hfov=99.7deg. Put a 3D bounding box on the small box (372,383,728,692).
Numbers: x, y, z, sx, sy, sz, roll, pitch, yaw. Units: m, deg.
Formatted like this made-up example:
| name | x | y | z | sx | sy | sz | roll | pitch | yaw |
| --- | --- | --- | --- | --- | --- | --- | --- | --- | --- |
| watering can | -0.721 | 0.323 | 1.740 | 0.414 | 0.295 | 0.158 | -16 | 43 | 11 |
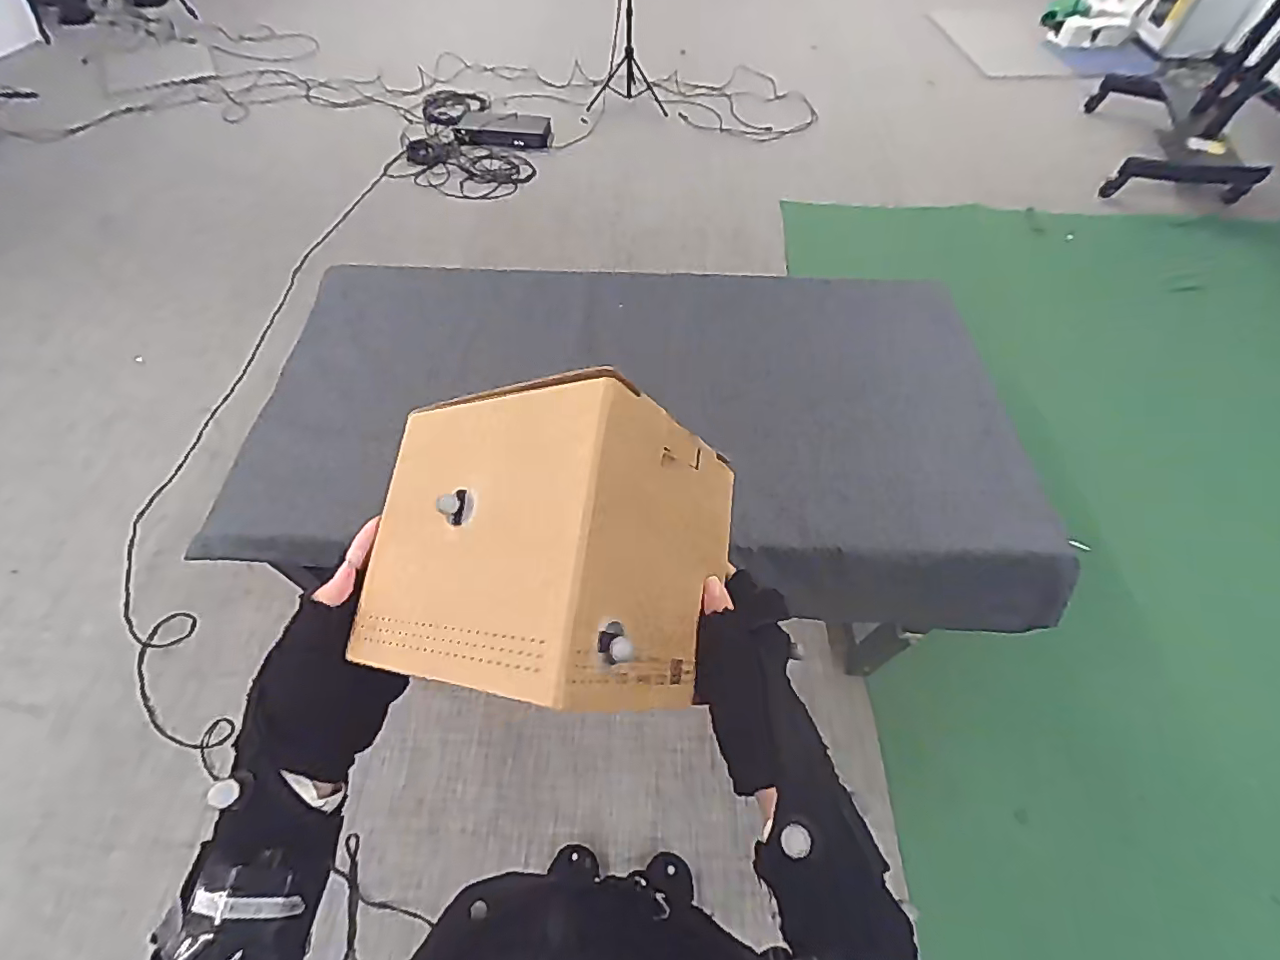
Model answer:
| name | x | y | z | sx | sy | sz | roll | pitch | yaw |
| --- | --- | --- | --- | --- | --- | --- | --- | --- | --- |
| small box | -0.053 | 0.052 | 0.386 | 0.179 | 0.168 | 0.176 | -4 | 69 | 32 |
